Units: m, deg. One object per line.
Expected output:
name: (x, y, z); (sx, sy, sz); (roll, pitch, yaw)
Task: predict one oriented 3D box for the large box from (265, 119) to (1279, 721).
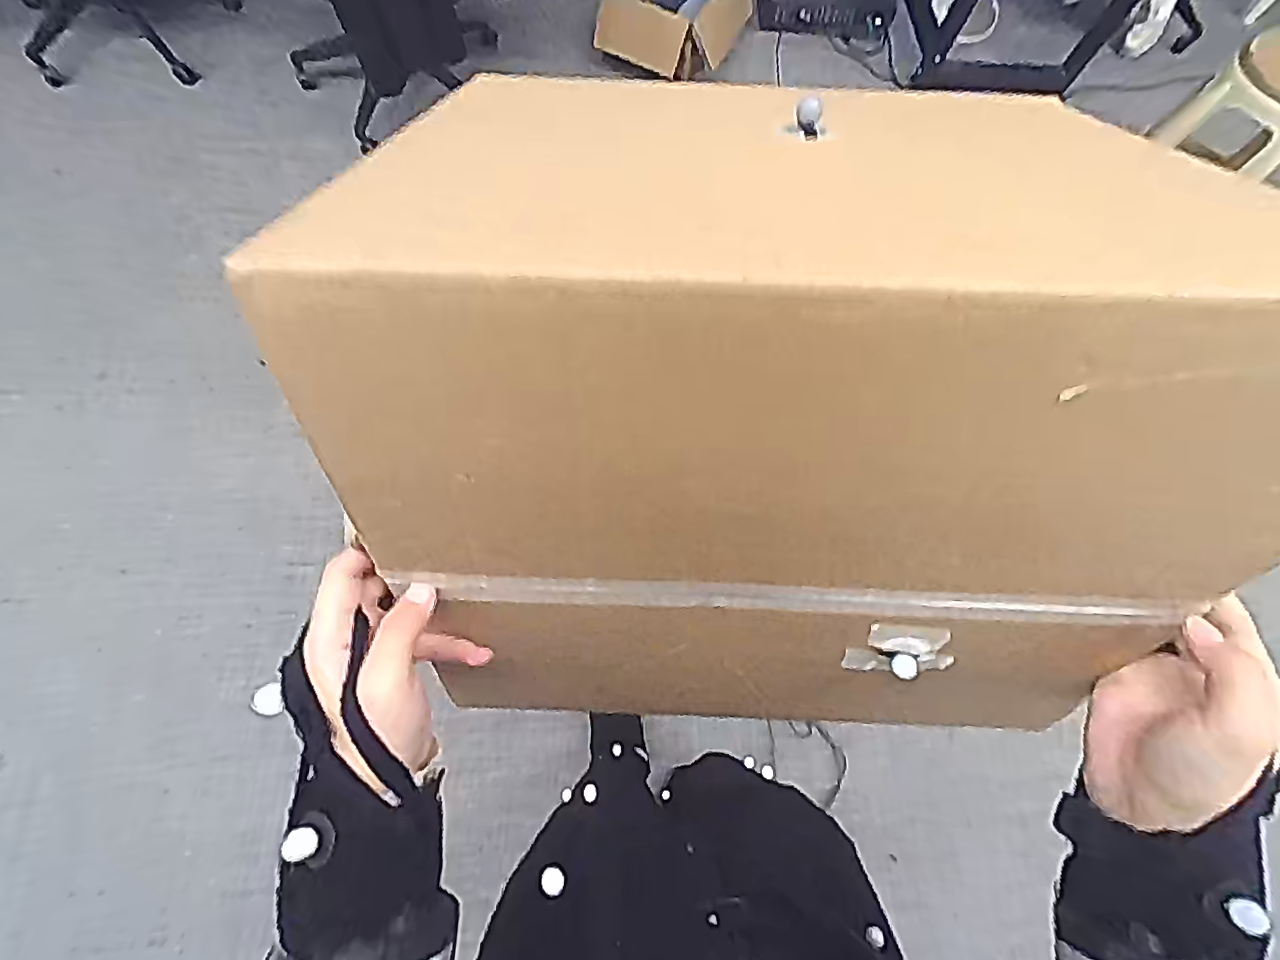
large box: (0.072, -0.047, 0.384); (0.408, 0.320, 0.320); (1, 45, 0)
